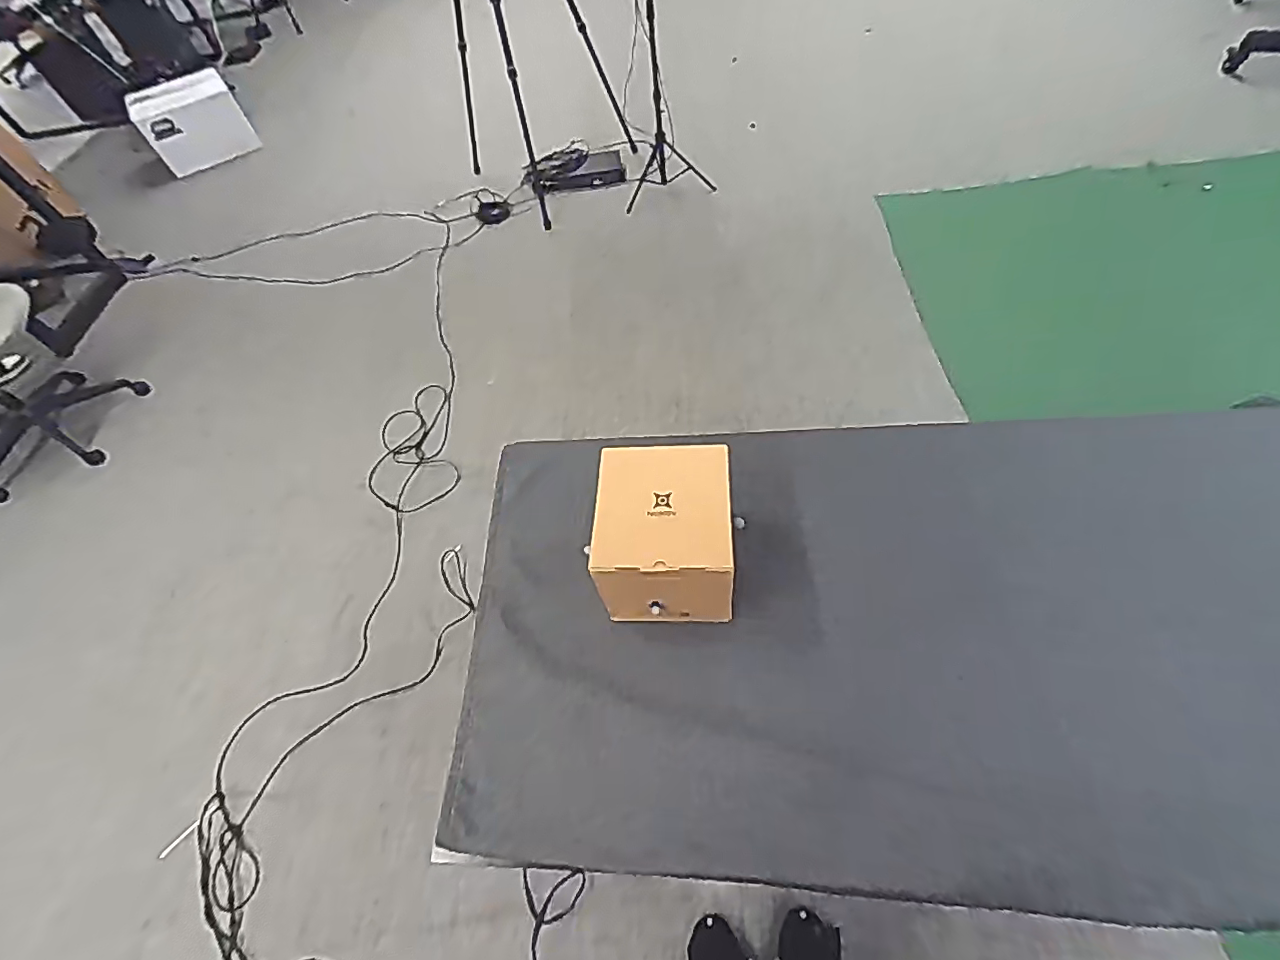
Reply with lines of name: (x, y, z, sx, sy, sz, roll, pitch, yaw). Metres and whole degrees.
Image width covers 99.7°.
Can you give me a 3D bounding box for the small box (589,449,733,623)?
small box: (0.035, 0.077, 0.721, 0.168, 0.176, 0.179, -1, 57, 7)
